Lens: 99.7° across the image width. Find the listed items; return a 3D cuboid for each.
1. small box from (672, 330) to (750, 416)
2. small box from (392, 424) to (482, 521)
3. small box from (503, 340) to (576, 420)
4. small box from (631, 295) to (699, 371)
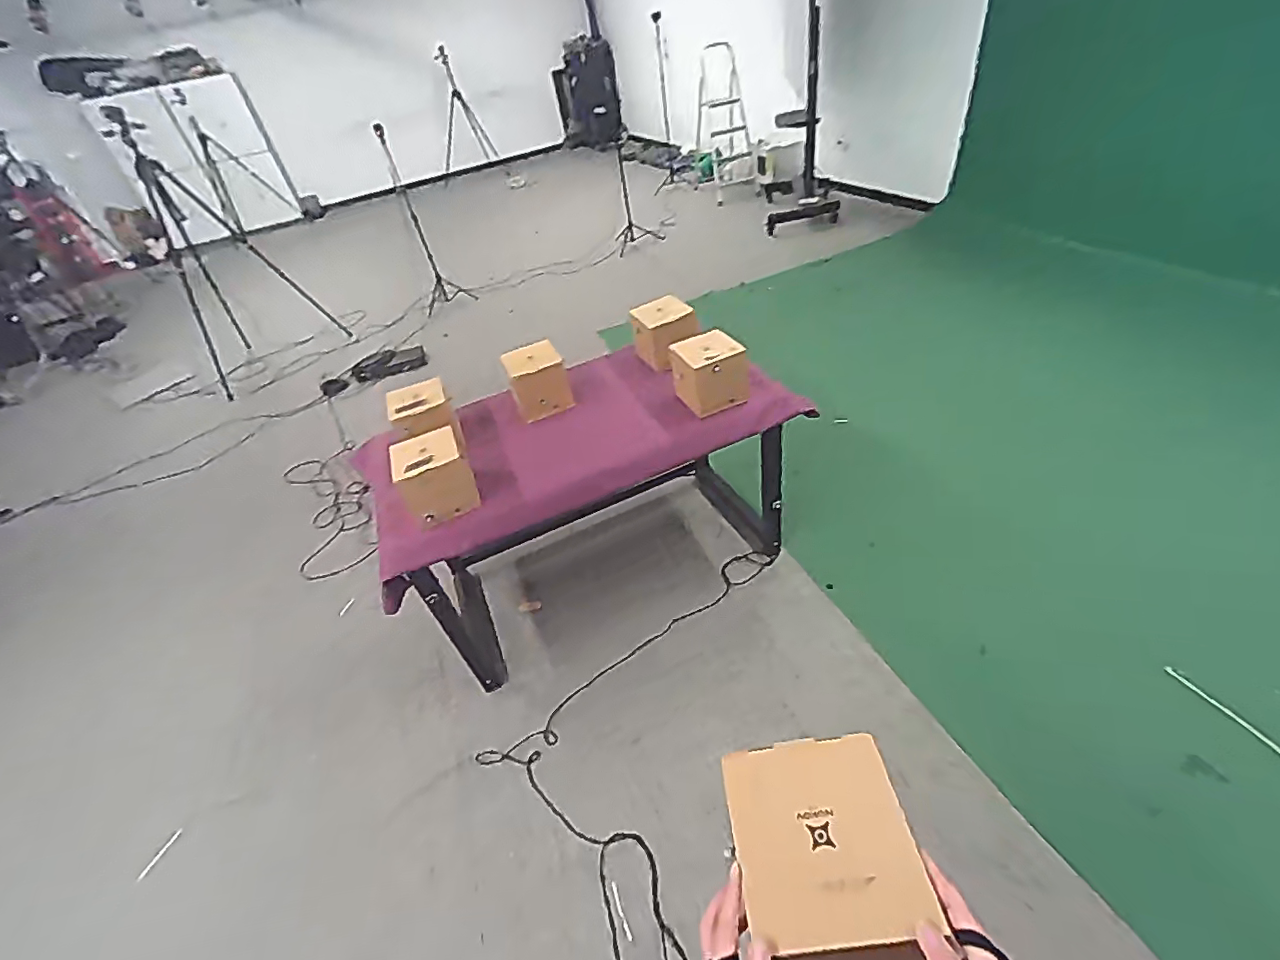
[{"bbox_3d":[0.209,-0.314,1.590,0.168,0.176,0.179,-22,39,-10],"label":"small box"},{"bbox_3d":[-0.531,-0.014,1.420,0.168,0.176,0.179,-22,41,-12],"label":"small box"},{"bbox_3d":[-0.320,-0.320,1.728,0.168,0.176,0.179,-22,43,-12],"label":"small box"},{"bbox_3d":[0.089,-0.494,1.825,0.168,0.176,0.179,-25,43,-11],"label":"small box"}]
